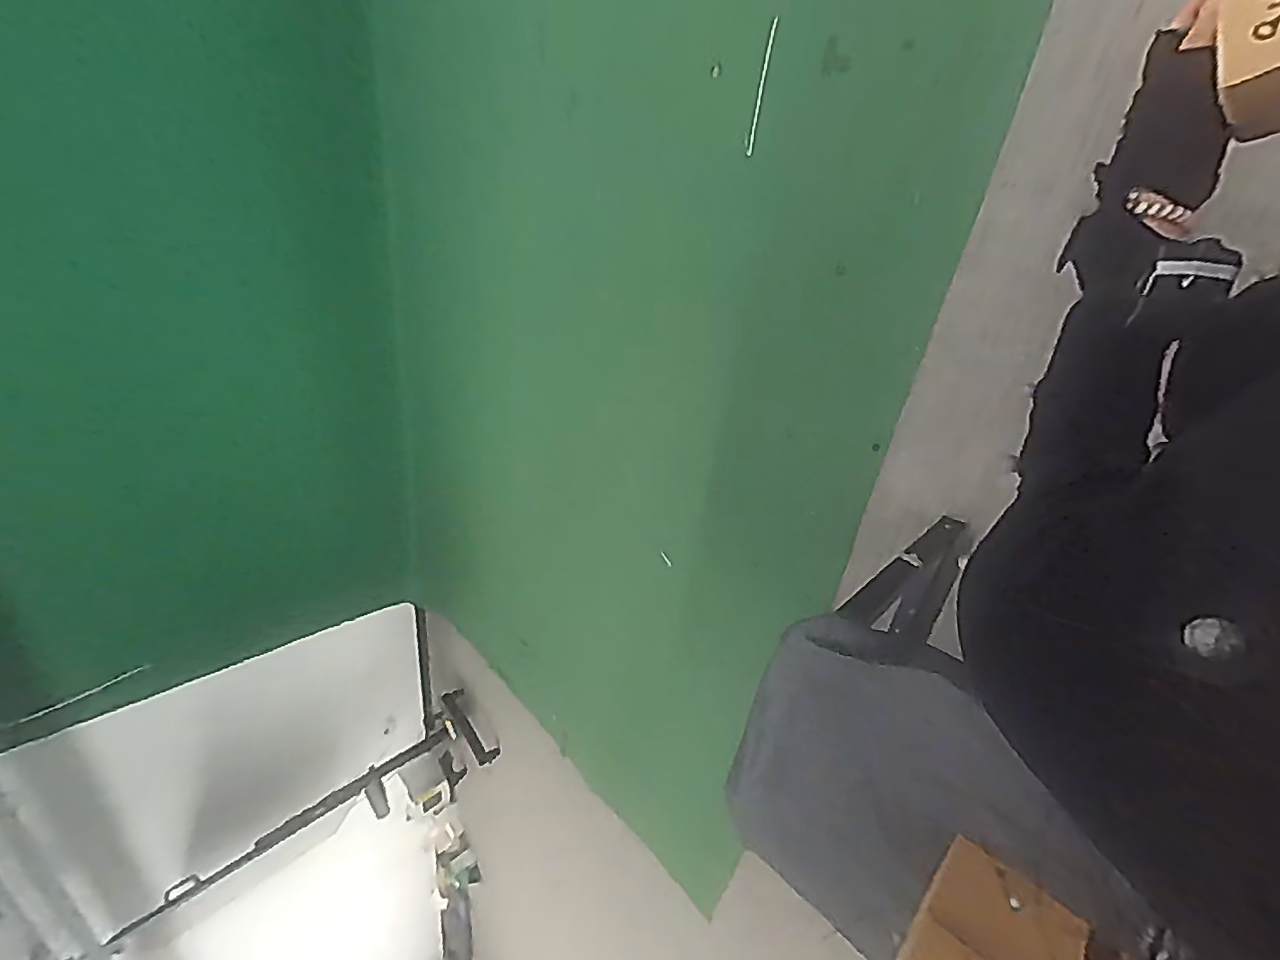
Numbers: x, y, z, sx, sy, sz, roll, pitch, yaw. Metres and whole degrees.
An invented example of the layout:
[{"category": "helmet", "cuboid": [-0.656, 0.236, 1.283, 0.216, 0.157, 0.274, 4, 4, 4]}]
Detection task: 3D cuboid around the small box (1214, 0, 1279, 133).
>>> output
[{"category": "small box", "cuboid": [0.446, -0.330, 0.297, 0.179, 0.176, 0.168, -1, 100, 50]}]
